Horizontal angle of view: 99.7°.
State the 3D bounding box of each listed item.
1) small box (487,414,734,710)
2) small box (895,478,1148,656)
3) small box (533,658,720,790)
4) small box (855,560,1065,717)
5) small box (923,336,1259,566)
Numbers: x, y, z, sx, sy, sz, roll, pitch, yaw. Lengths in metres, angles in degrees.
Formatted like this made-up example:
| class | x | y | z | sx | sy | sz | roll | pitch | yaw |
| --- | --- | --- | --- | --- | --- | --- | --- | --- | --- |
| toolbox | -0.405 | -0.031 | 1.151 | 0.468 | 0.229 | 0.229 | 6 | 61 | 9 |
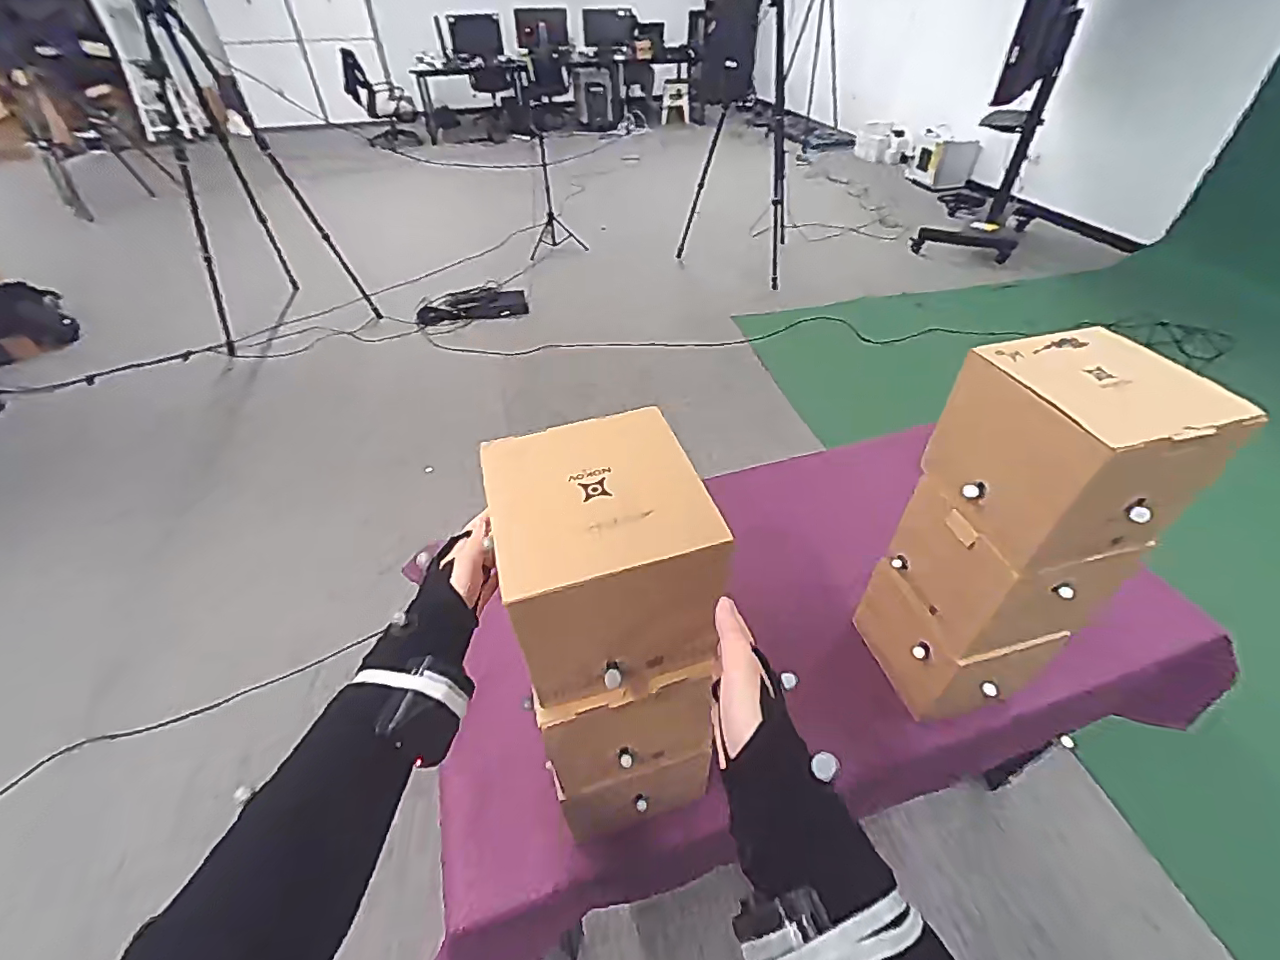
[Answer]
| class | x | y | z | sx | sy | sz | roll | pitch | yaw |
| --- | --- | --- | --- | --- | --- | --- | --- | --- | --- |
| small box | -0.032 | 0.069 | 0.482 | 0.168 | 0.176 | 0.179 | -13 | 45 | -11 |
| small box | 0.450 | 0.098 | 0.679 | 0.179 | 0.176 | 0.168 | -9 | 44 | -10 |
| small box | -0.029 | 0.197 | 0.585 | 0.168 | 0.176 | 0.179 | -13 | 45 | -12 |
| small box | 0.445 | 0.222 | 0.788 | 0.168 | 0.176 | 0.179 | -10 | 44 | -10 |
| small box | 0.444 | -0.027 | 0.573 | 0.168 | 0.176 | 0.179 | -10 | 45 | -10 |
